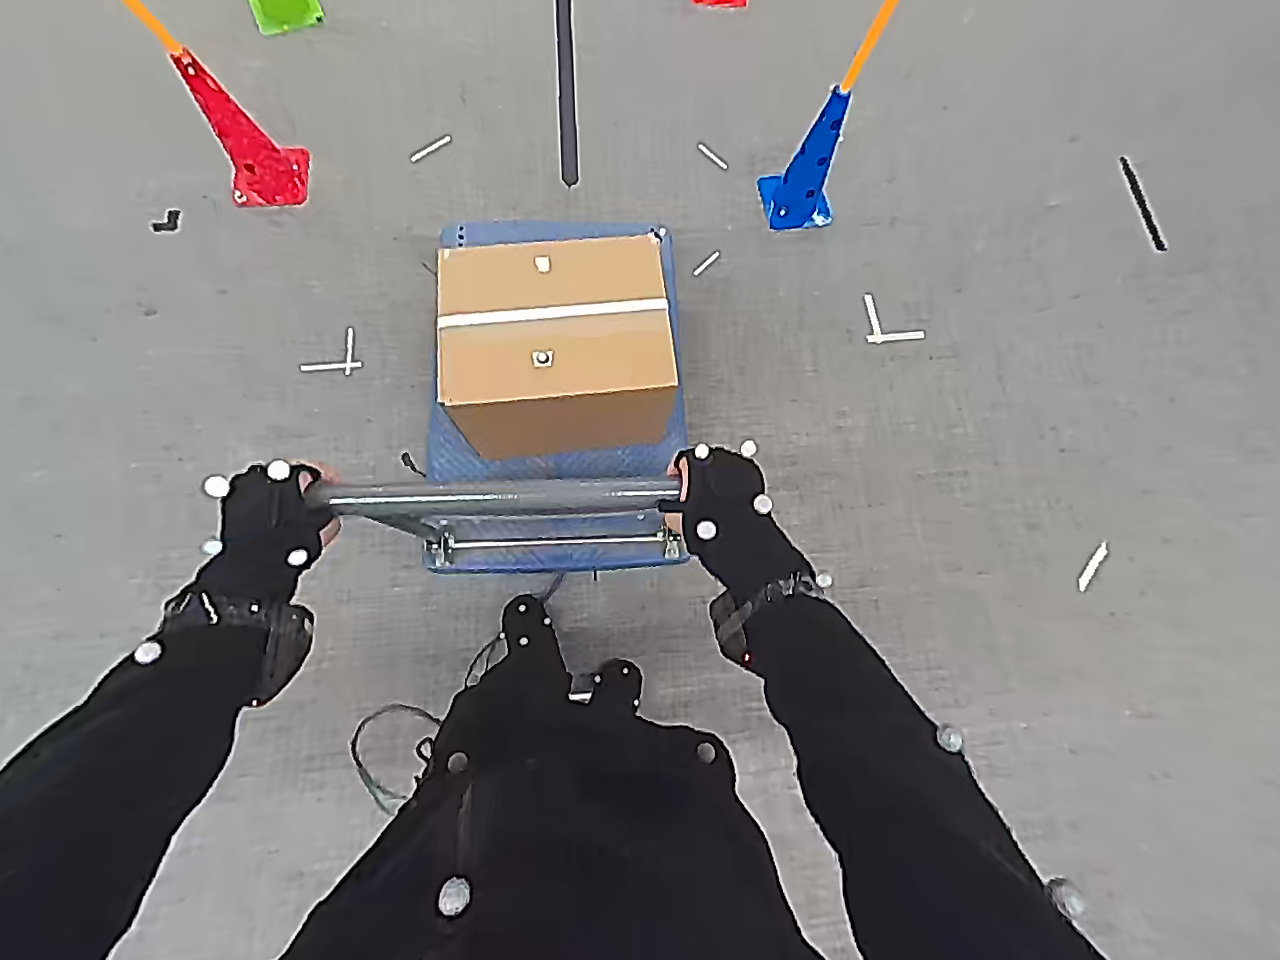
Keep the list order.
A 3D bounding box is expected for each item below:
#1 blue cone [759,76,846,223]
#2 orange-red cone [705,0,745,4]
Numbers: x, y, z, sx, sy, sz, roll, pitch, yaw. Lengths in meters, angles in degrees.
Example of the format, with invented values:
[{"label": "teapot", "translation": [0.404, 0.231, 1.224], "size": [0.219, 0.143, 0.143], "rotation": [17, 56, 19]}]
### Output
[{"label": "blue cone", "translation": [0.481, -0.915, 1.500], "size": [0.193, 0.380, 0.192], "rotation": [-7, 74, -6]}, {"label": "orange-red cone", "translation": [0.282, -1.778, 1.712], "size": [0.199, 0.360, 0.198], "rotation": [3, 75, -4]}]
